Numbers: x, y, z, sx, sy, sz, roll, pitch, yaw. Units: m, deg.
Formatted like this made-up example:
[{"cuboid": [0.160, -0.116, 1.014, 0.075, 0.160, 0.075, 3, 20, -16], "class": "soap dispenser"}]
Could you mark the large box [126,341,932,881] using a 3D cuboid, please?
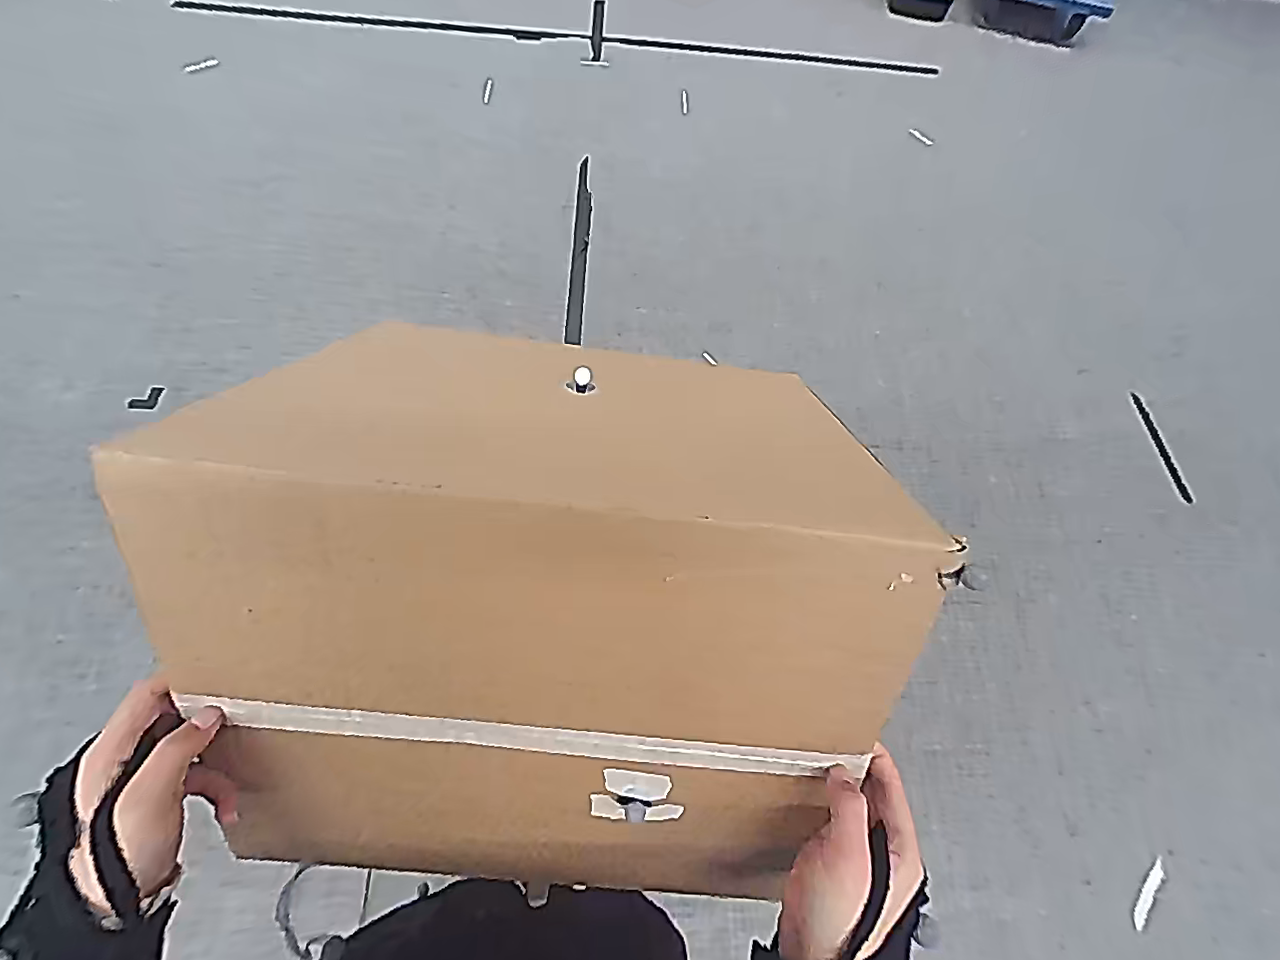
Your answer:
[{"cuboid": [-0.066, 0.081, 0.462, 0.408, 0.320, 0.320, 6, 27, -3], "class": "large box"}]
